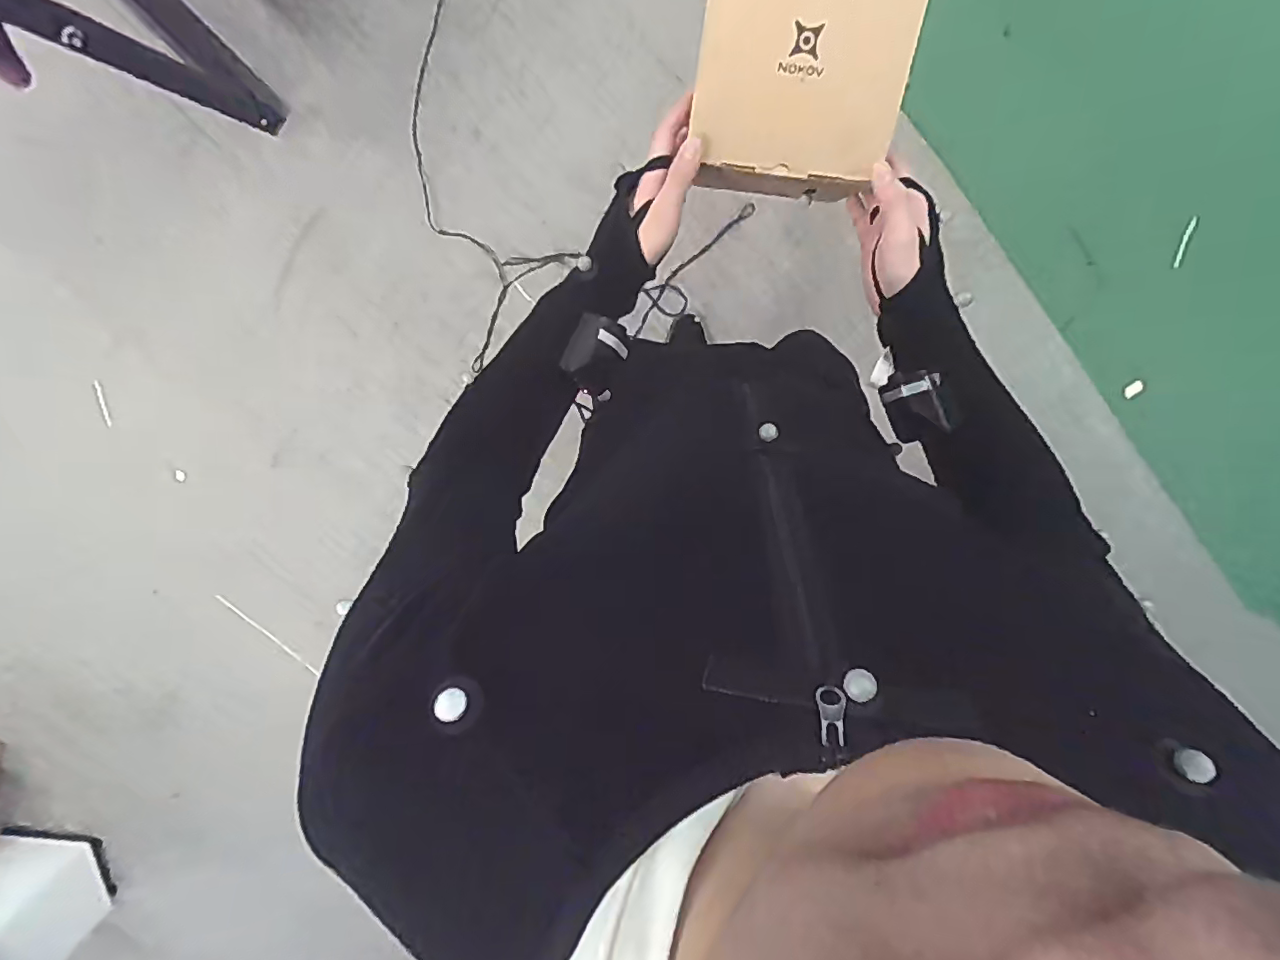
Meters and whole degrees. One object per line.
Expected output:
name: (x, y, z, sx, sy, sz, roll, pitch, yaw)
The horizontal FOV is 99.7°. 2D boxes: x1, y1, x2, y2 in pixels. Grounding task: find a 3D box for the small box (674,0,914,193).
small box: (0.129, -0.369, 0.489, 0.168, 0.176, 0.179, 8, 114, 4)
